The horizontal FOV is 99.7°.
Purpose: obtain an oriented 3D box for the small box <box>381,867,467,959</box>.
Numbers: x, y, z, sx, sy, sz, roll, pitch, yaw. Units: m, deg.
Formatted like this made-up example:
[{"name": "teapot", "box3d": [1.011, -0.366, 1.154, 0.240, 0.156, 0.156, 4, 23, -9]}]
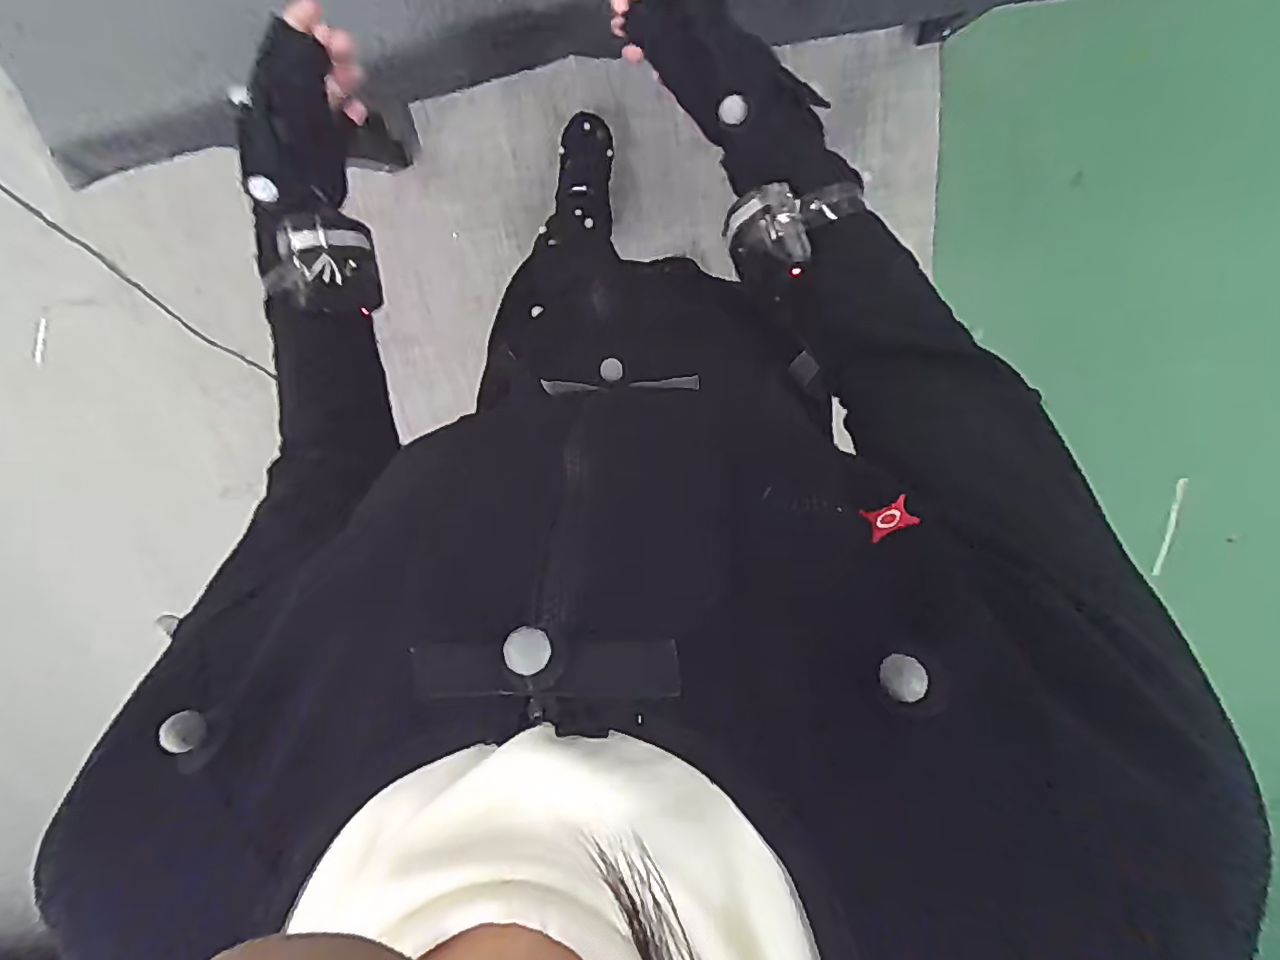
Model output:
[{"name": "small box", "box3d": [-0.604, 1.239, 1.527, 0.168, 0.176, 0.179, 18, 113, -5]}]
